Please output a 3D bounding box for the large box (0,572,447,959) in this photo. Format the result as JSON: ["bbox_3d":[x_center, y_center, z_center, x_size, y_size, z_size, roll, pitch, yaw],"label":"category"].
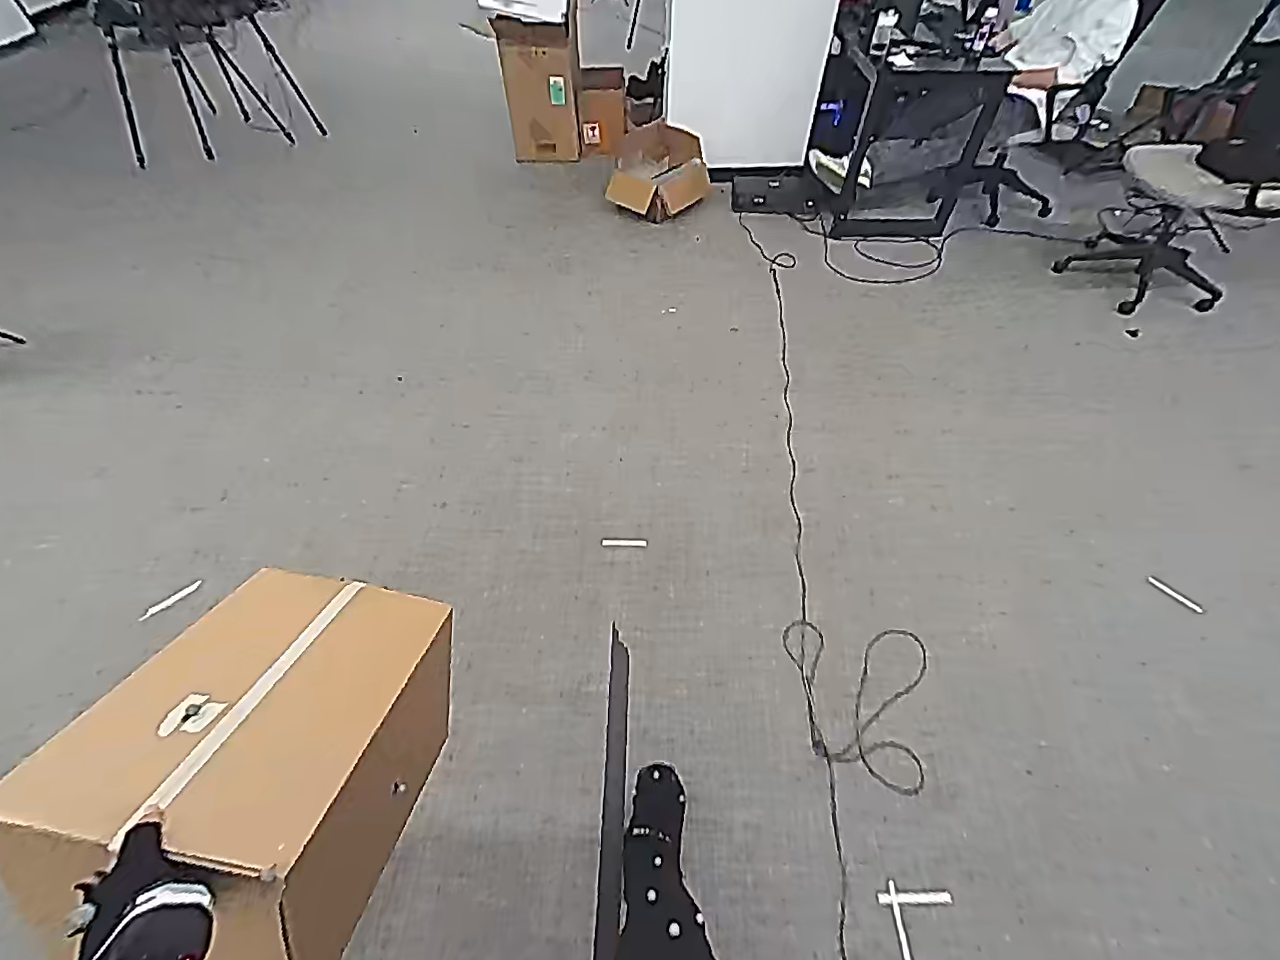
[{"bbox_3d":[-0.503,0.396,0.771,0.320,0.320,0.408,11,27,0],"label":"large box"}]
